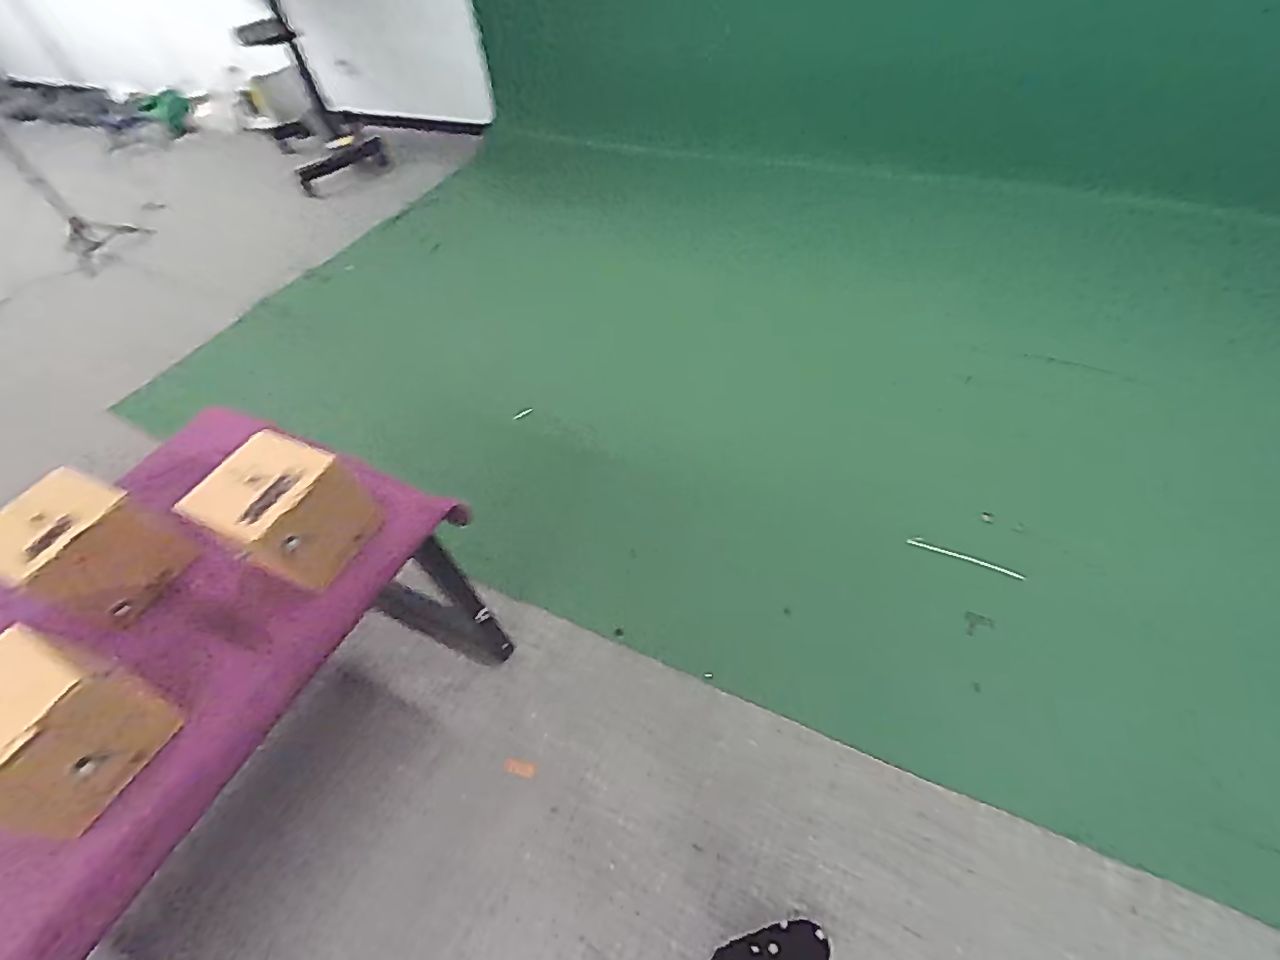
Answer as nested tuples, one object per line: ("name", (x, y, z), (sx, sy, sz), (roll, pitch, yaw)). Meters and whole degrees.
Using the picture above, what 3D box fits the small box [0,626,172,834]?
("small box", (-0.764, 0.318, 0.683), (0.179, 0.176, 0.168), (19, 56, 20))

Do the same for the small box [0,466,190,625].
("small box", (-0.888, 0.109, 0.861), (0.179, 0.176, 0.168), (17, 55, 19))
